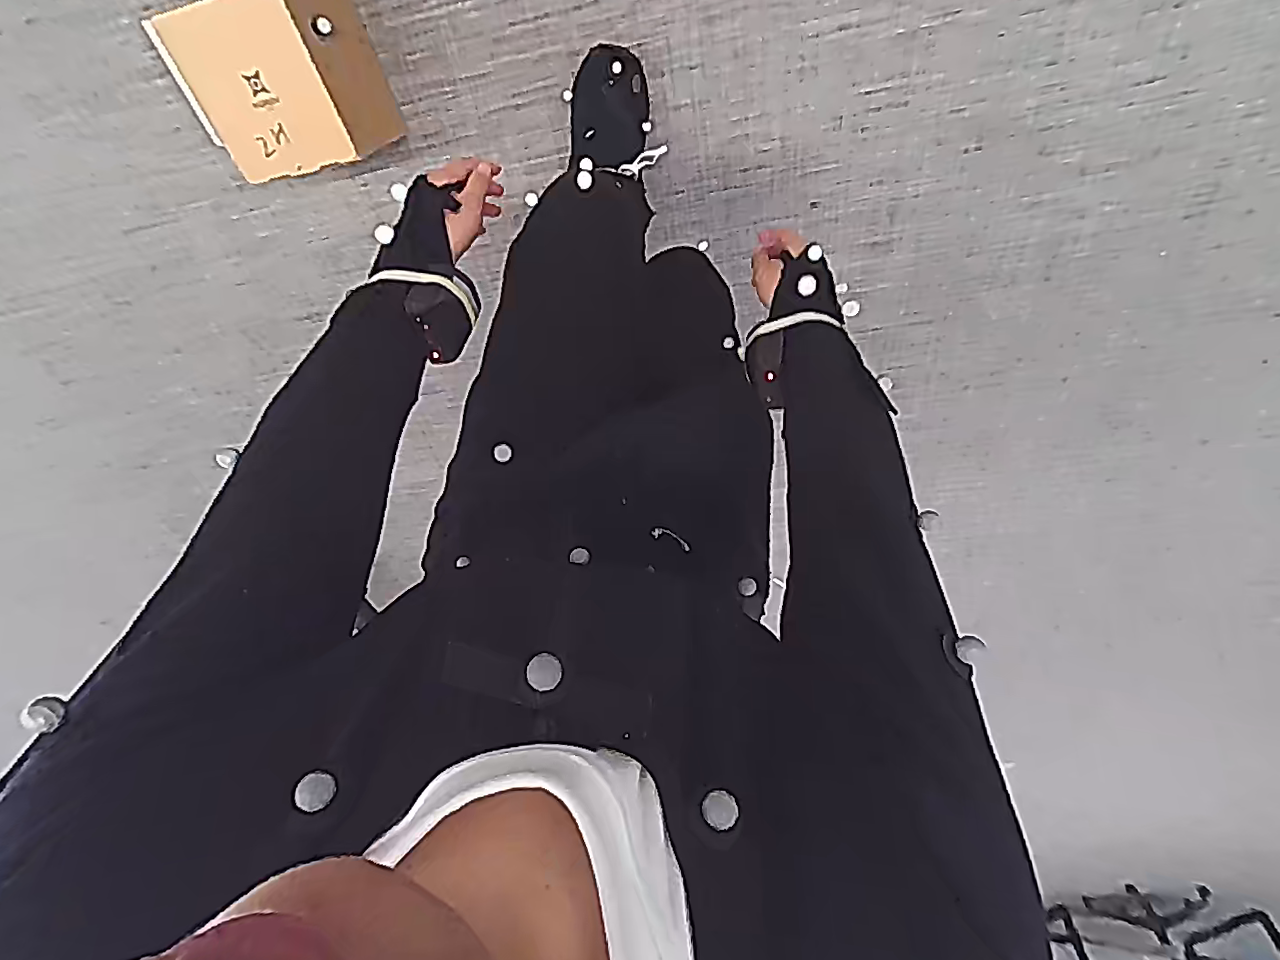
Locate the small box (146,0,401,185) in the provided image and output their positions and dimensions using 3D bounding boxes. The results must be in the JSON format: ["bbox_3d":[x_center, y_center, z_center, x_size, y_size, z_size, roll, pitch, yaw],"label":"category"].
[{"bbox_3d":[-0.443,-0.507,0.691,0.168,0.176,0.179,-6,132,10],"label":"small box"}]
